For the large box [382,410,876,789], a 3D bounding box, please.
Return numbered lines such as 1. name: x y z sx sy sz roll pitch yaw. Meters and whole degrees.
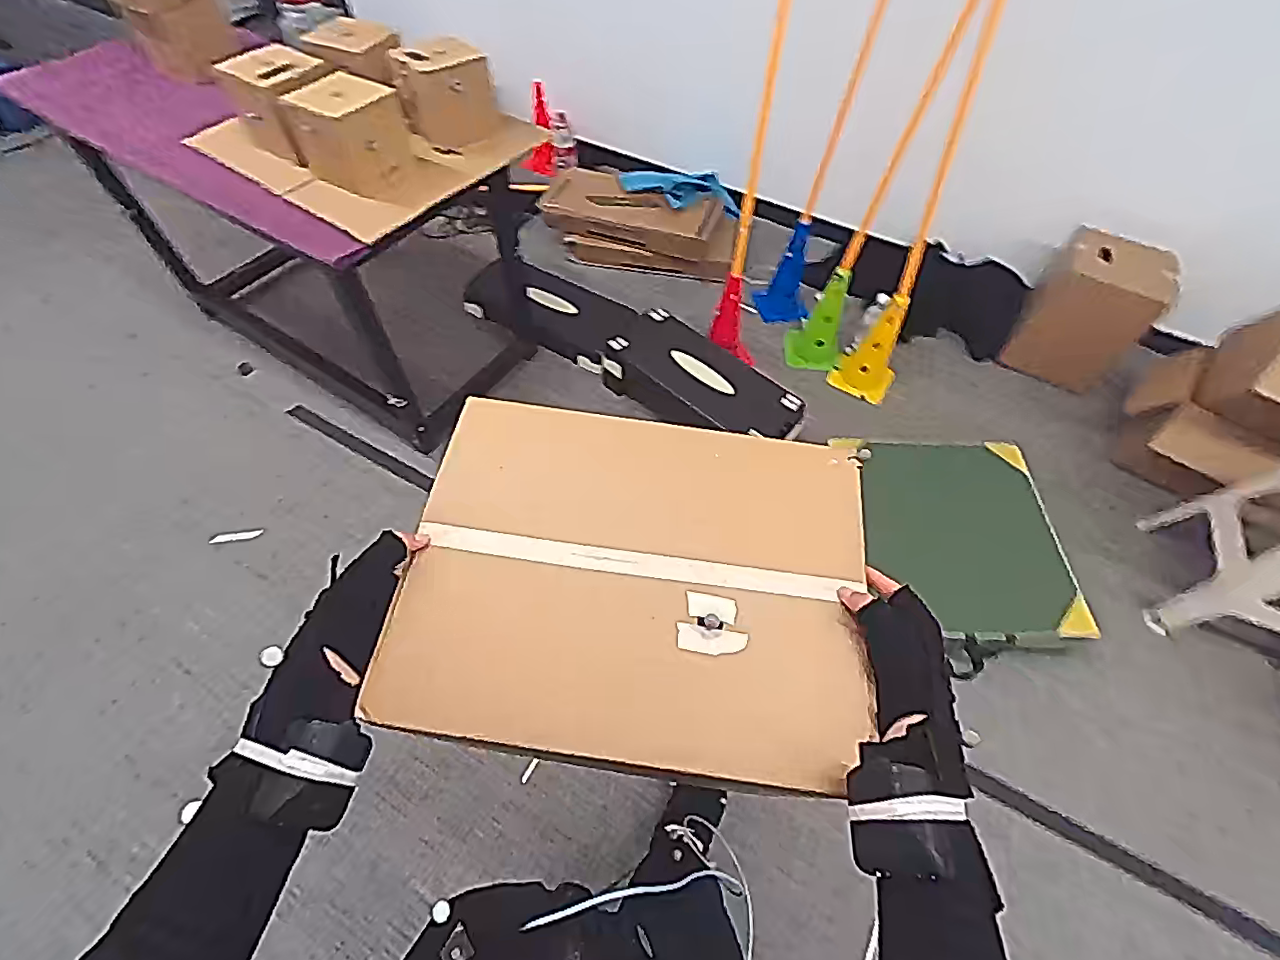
1. large box: -0.001 0.155 0.626 0.408 0.320 0.320 9 61 1
